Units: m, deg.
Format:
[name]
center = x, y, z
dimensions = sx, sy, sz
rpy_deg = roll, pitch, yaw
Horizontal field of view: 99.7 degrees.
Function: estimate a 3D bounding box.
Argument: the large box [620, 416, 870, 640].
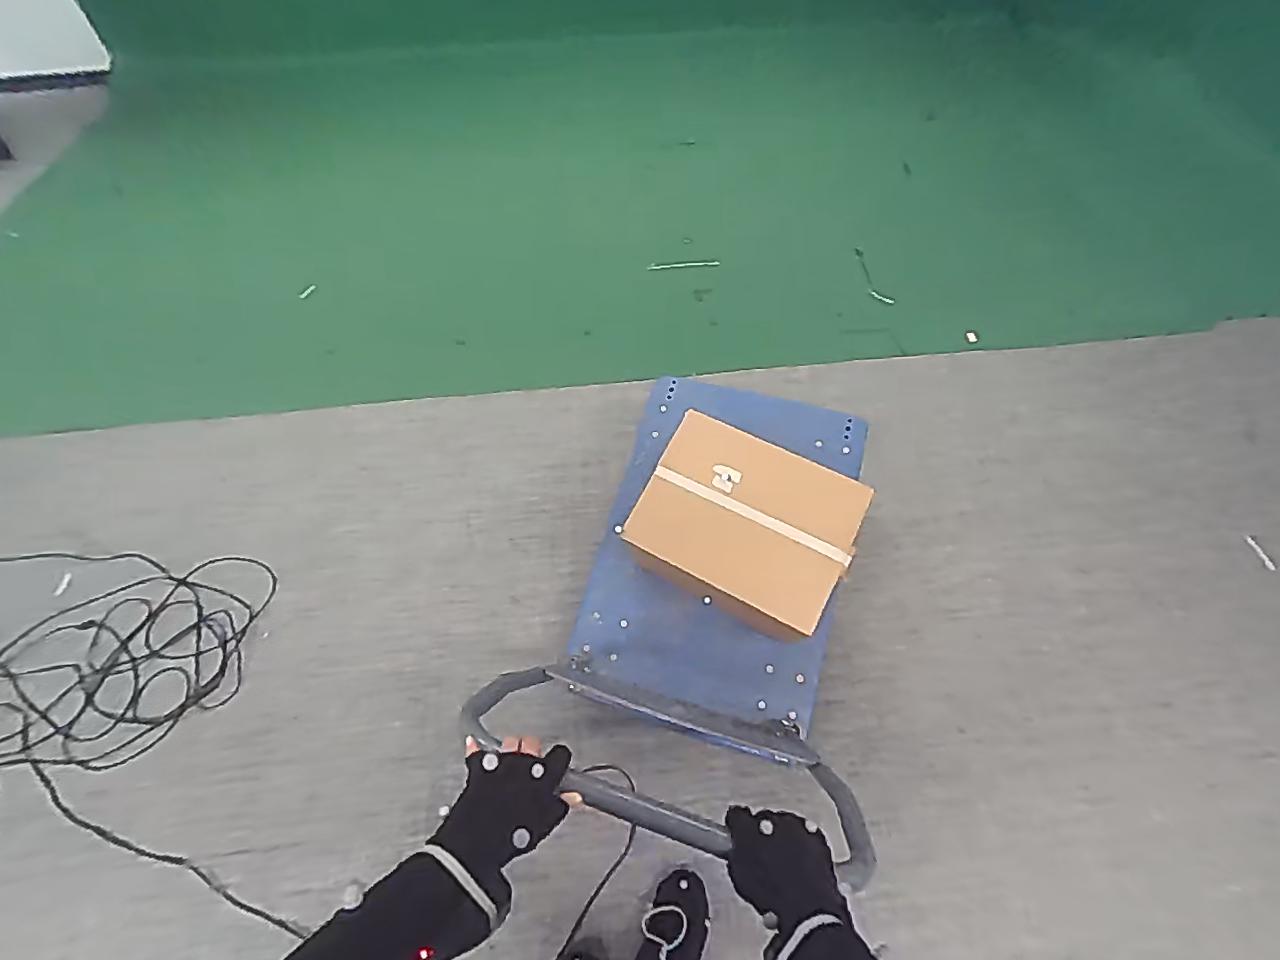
[large box]
center = 0.222, 0.120, 1.195
dimensions = 0.408, 0.320, 0.320
rpy_deg = 26, 76, 15
